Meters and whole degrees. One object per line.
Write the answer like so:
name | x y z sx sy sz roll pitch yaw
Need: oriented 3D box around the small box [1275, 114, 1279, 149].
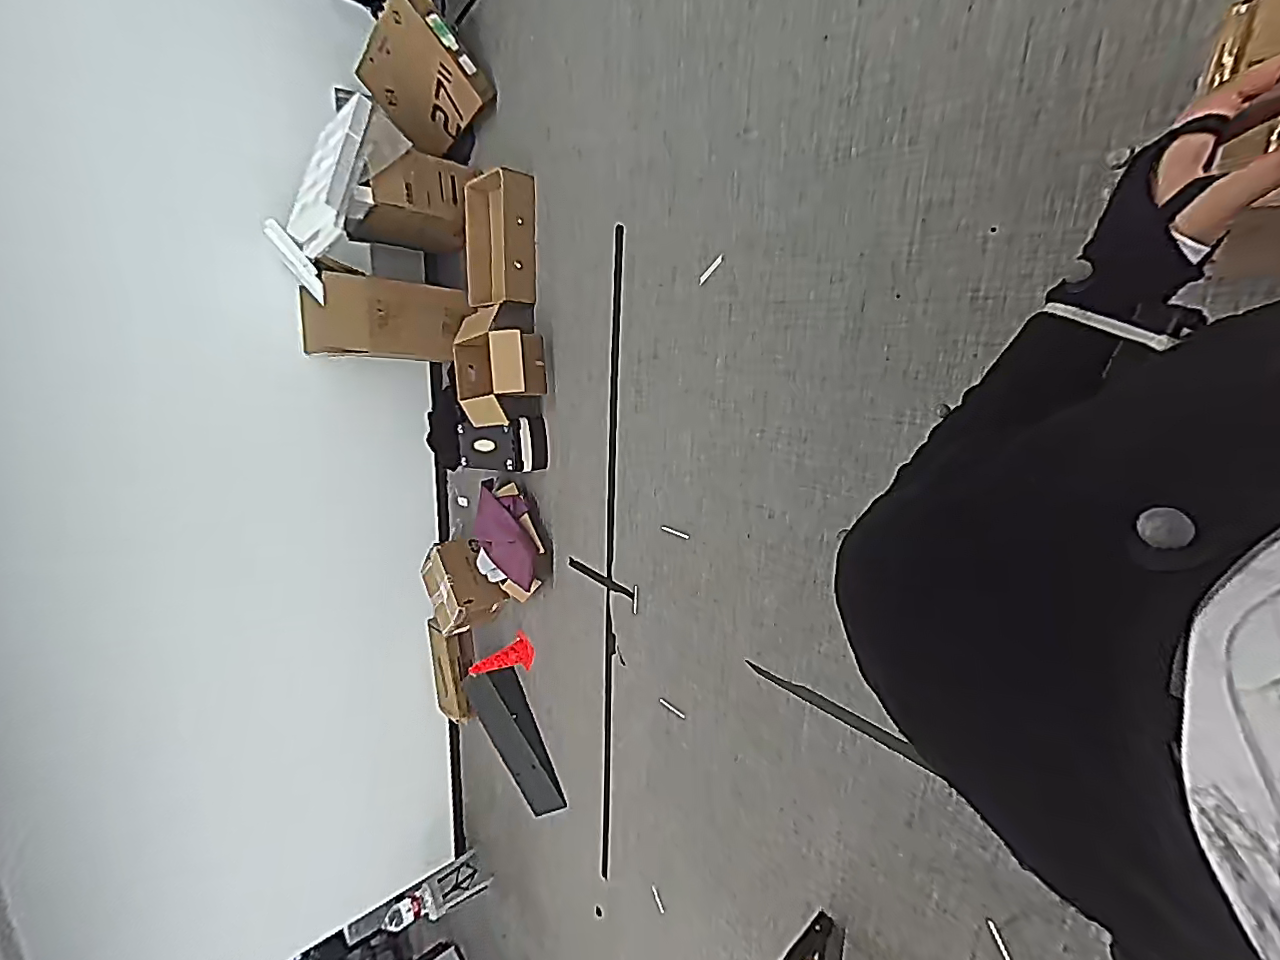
small box | 0.493 -0.278 0.287 0.179 0.176 0.168 13 114 49

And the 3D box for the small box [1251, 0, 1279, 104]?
small box | 0.645 -0.446 0.440 0.168 0.176 0.179 19 114 47
